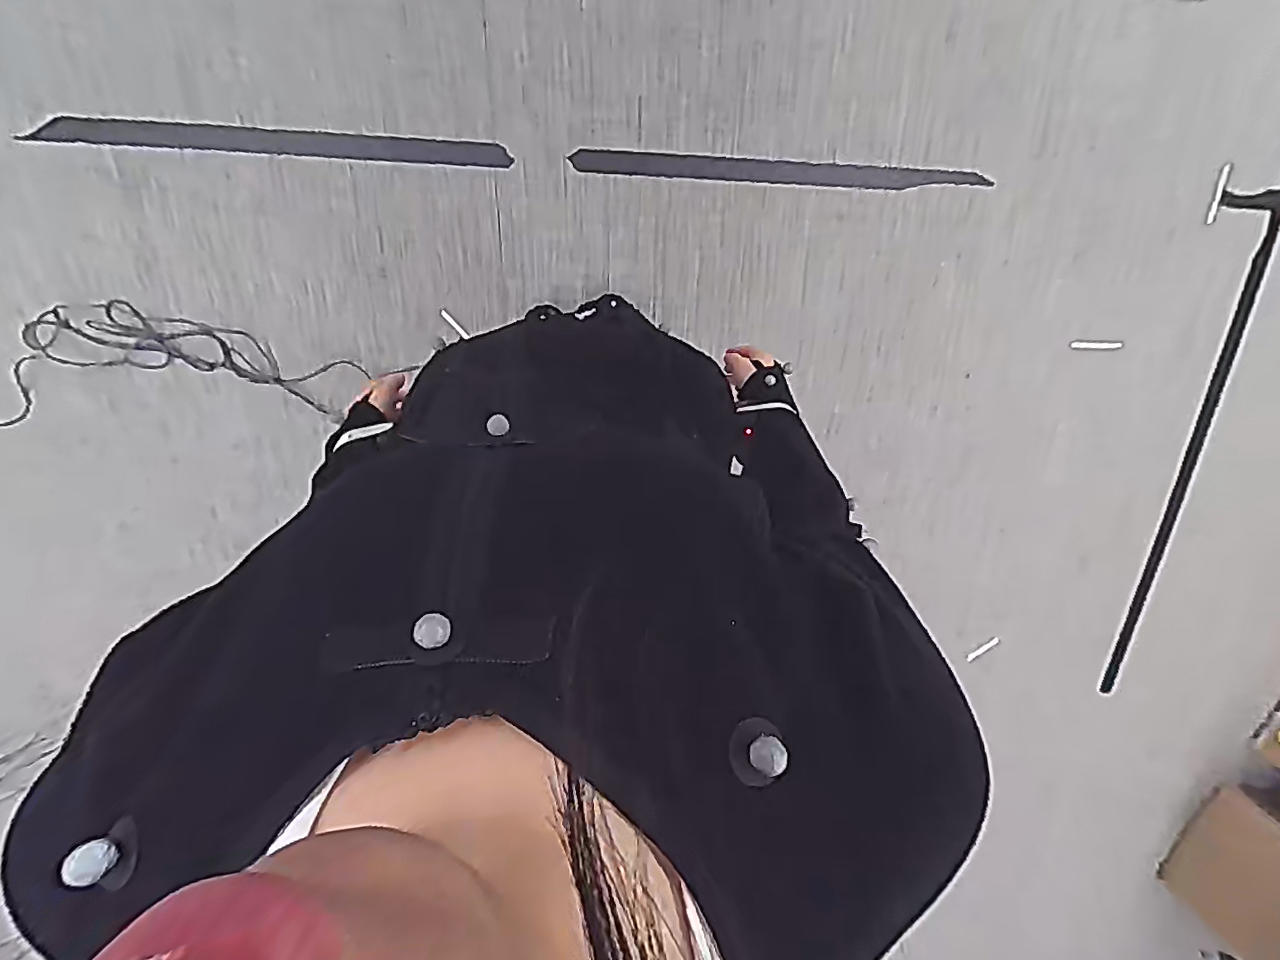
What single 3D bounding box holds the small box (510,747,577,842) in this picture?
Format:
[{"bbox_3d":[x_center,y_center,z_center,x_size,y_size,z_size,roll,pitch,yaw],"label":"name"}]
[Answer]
[{"bbox_3d":[-0.273,0.896,1.554,0.179,0.176,0.168,-3,108,-6],"label":"small box"}]
